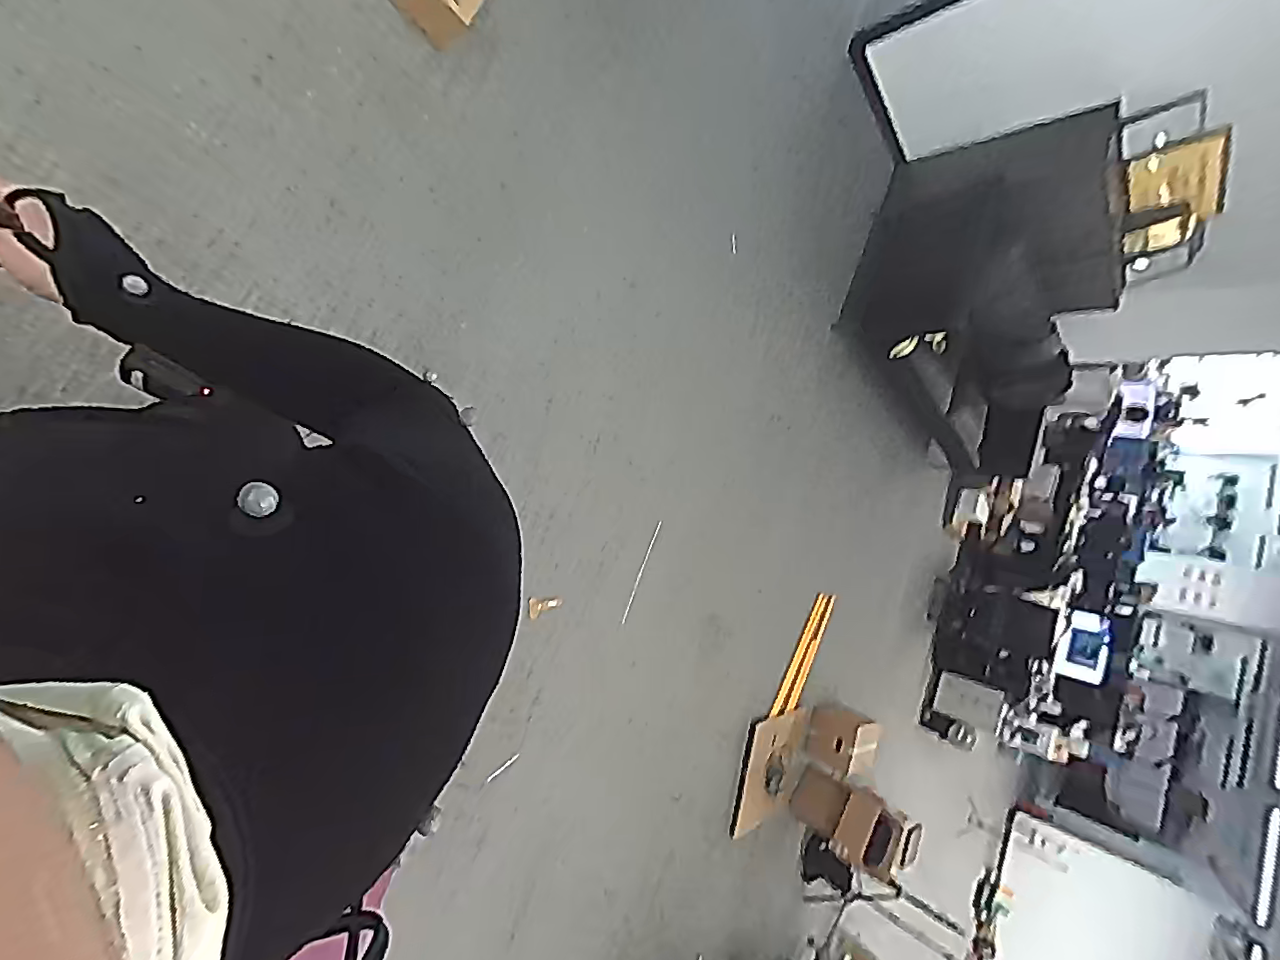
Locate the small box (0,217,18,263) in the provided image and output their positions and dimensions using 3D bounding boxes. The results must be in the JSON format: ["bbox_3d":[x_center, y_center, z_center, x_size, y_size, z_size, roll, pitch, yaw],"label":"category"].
[{"bbox_3d":[-0.641,-0.243,0.404,0.179,0.176,0.168,-34,119,-35],"label":"small box"}]
